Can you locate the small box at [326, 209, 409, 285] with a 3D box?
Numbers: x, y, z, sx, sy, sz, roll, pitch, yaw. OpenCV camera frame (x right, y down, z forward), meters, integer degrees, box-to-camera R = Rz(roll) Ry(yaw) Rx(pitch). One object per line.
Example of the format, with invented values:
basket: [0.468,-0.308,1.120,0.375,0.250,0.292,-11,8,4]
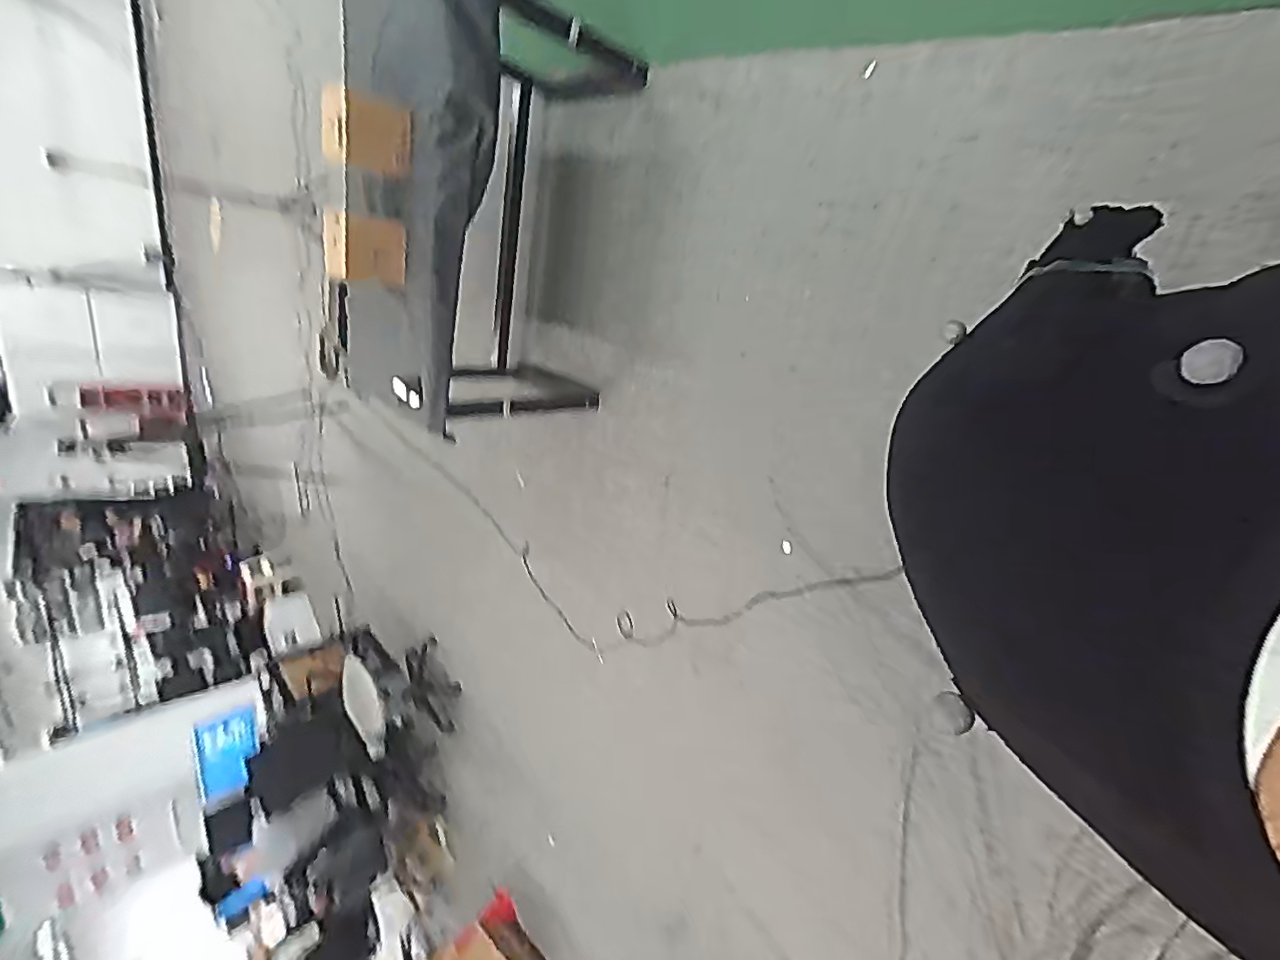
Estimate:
small box: [-0.787,-0.672,1.567,0.168,0.176,0.179,27,116,37]

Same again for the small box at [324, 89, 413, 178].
small box: [-0.733,-0.933,1.464,0.179,0.176,0.168,30,117,37]
